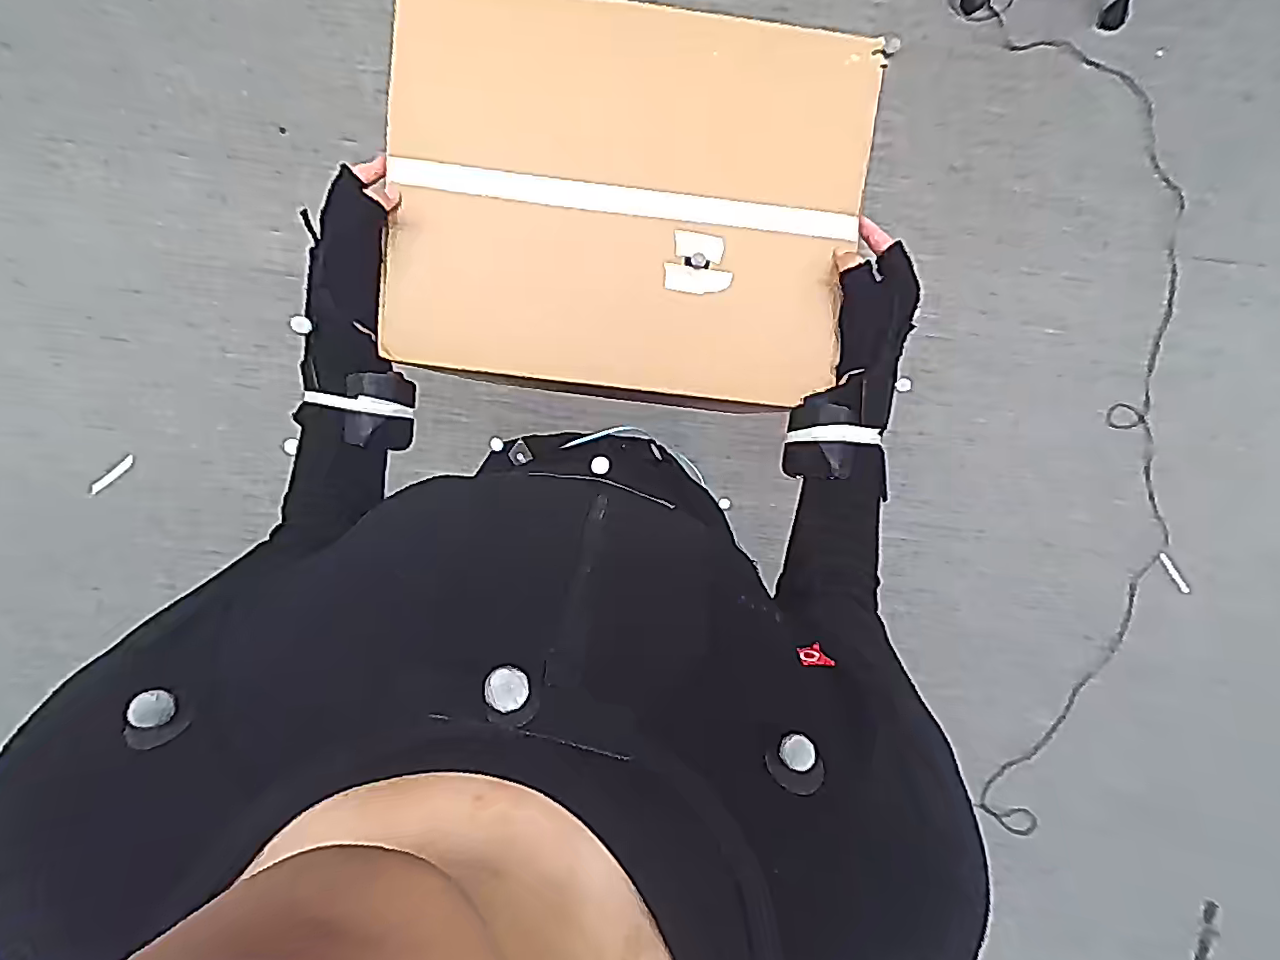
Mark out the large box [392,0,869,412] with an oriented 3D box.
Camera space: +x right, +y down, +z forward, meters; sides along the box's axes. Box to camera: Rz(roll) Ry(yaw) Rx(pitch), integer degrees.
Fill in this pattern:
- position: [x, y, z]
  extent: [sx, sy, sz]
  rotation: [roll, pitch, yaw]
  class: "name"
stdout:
- position: [-0.020, -0.253, 0.623]
  extent: [0.408, 0.320, 0.320]
  rotation: [6, 98, -4]
  class: "large box"
